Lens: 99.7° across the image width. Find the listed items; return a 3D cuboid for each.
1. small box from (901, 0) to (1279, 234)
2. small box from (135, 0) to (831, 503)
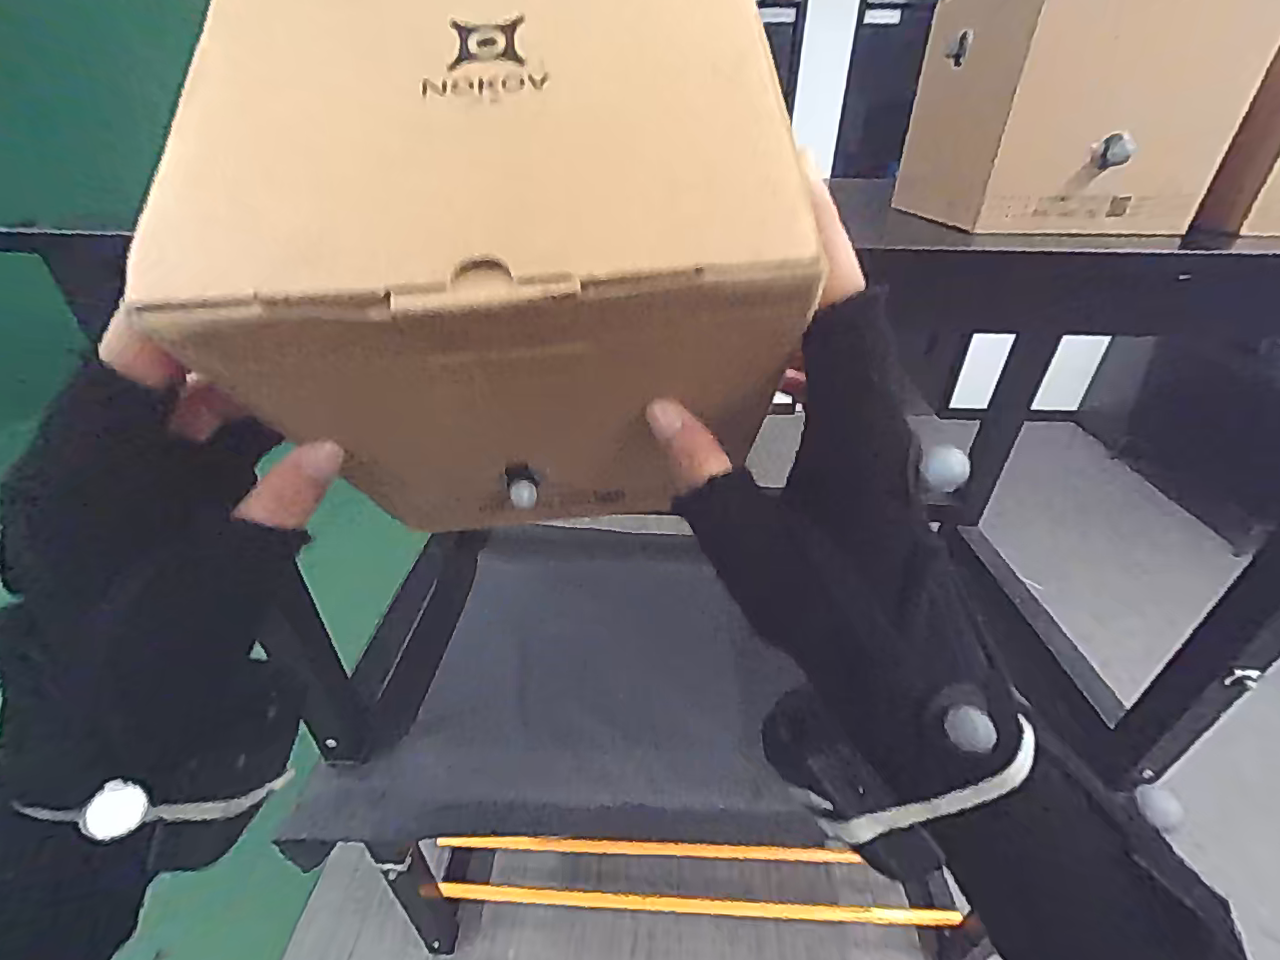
[{"bbox_3d":[0.344,-0.310,0.447,0.168,0.176,0.179,1,33,1],"label":"small box"},{"bbox_3d":[-0.042,-0.104,0.232,0.168,0.176,0.179,-5,69,-2],"label":"small box"}]
